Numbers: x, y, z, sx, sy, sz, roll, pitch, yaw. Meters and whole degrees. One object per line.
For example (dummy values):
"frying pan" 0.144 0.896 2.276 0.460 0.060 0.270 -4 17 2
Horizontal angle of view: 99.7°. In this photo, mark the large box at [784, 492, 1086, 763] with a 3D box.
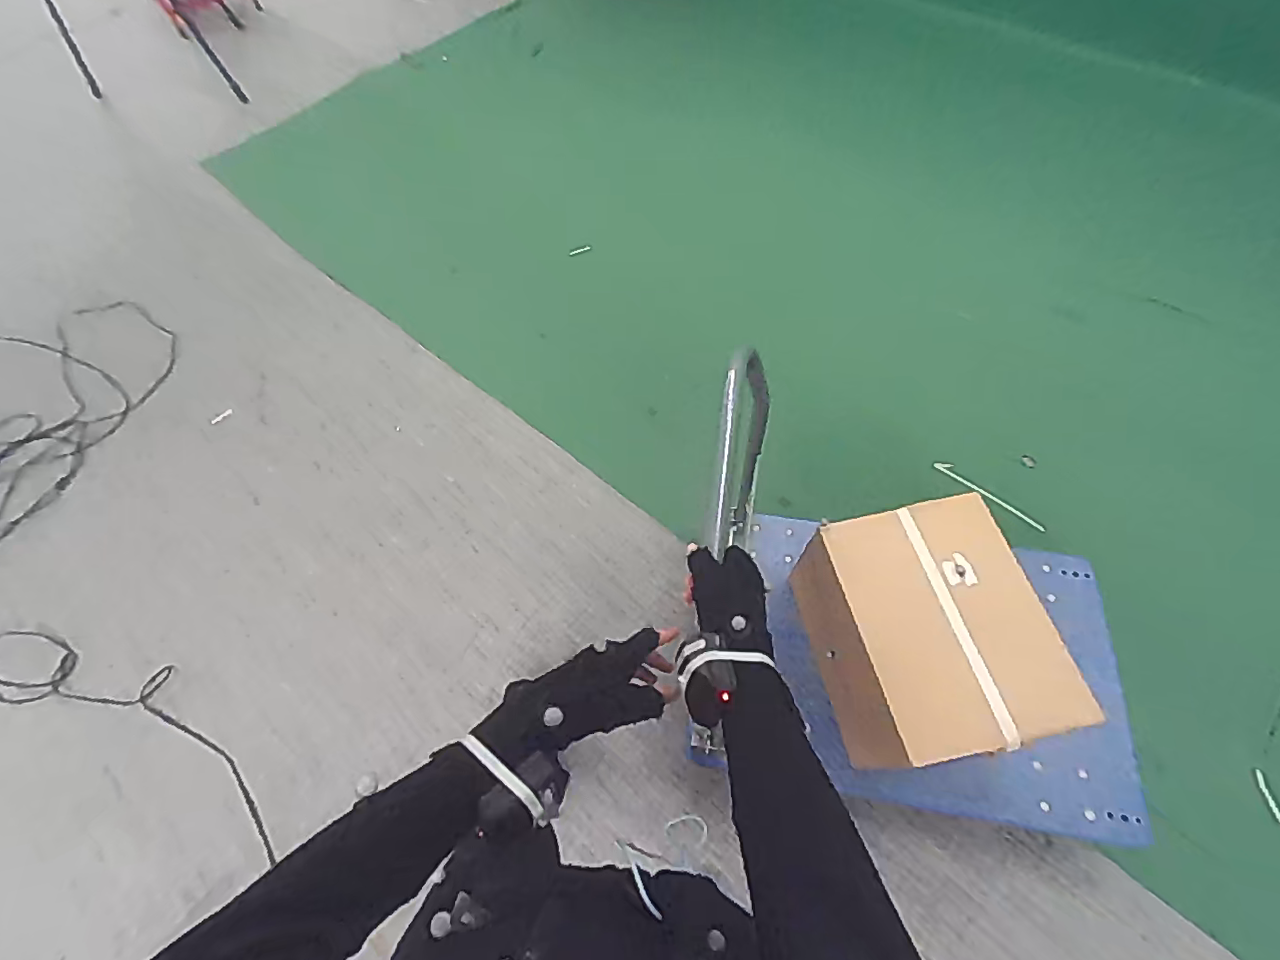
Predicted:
"large box" 0.513 0.294 1.052 0.320 0.320 0.408 -12 61 -3
